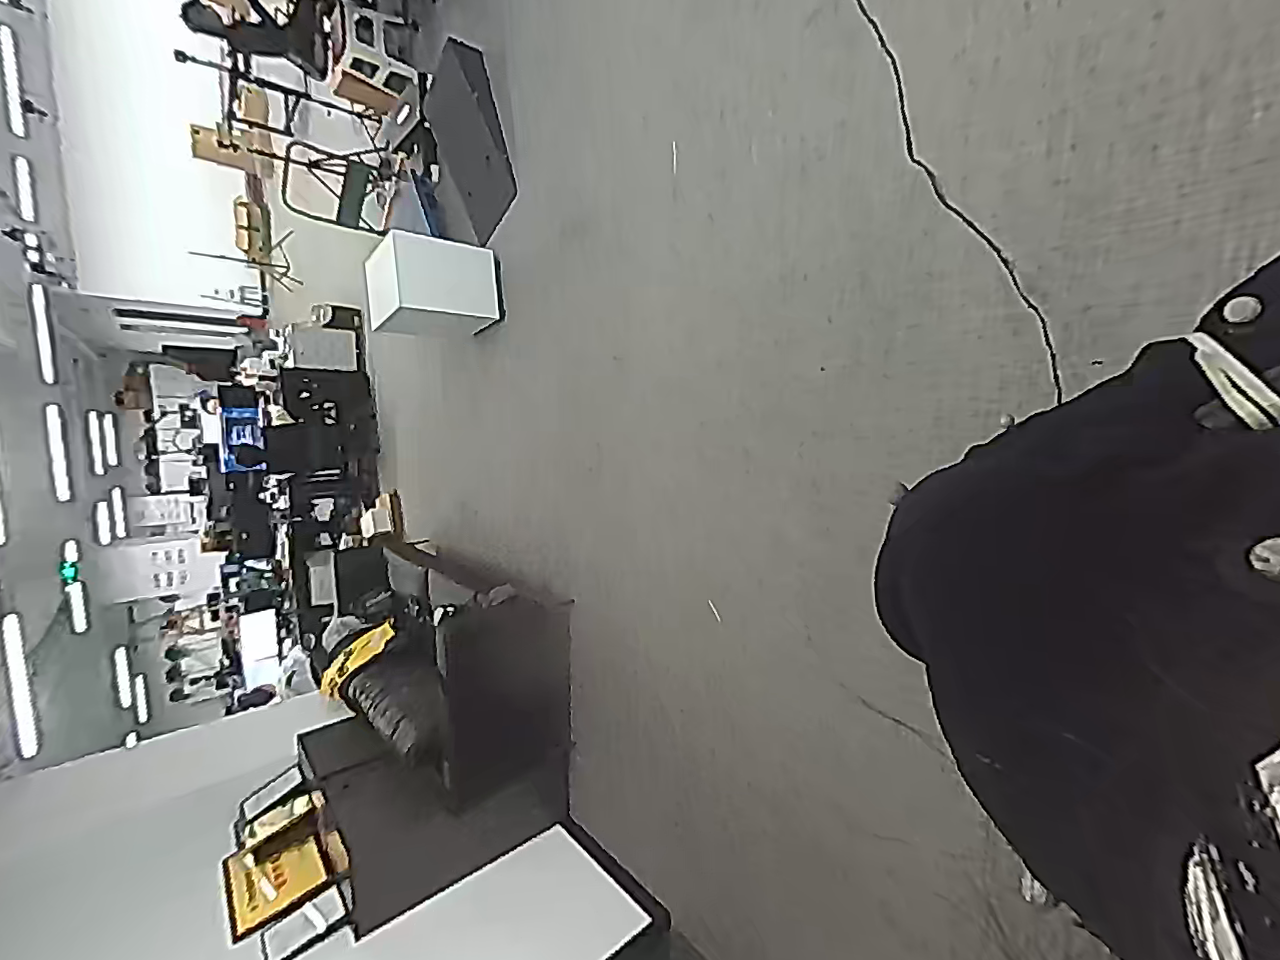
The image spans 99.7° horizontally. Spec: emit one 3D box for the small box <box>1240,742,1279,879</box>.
[{"bbox_3d":[1.176,0.592,0.946,0.168,0.176,0.179,-2,93,51],"label":"small box"}]
